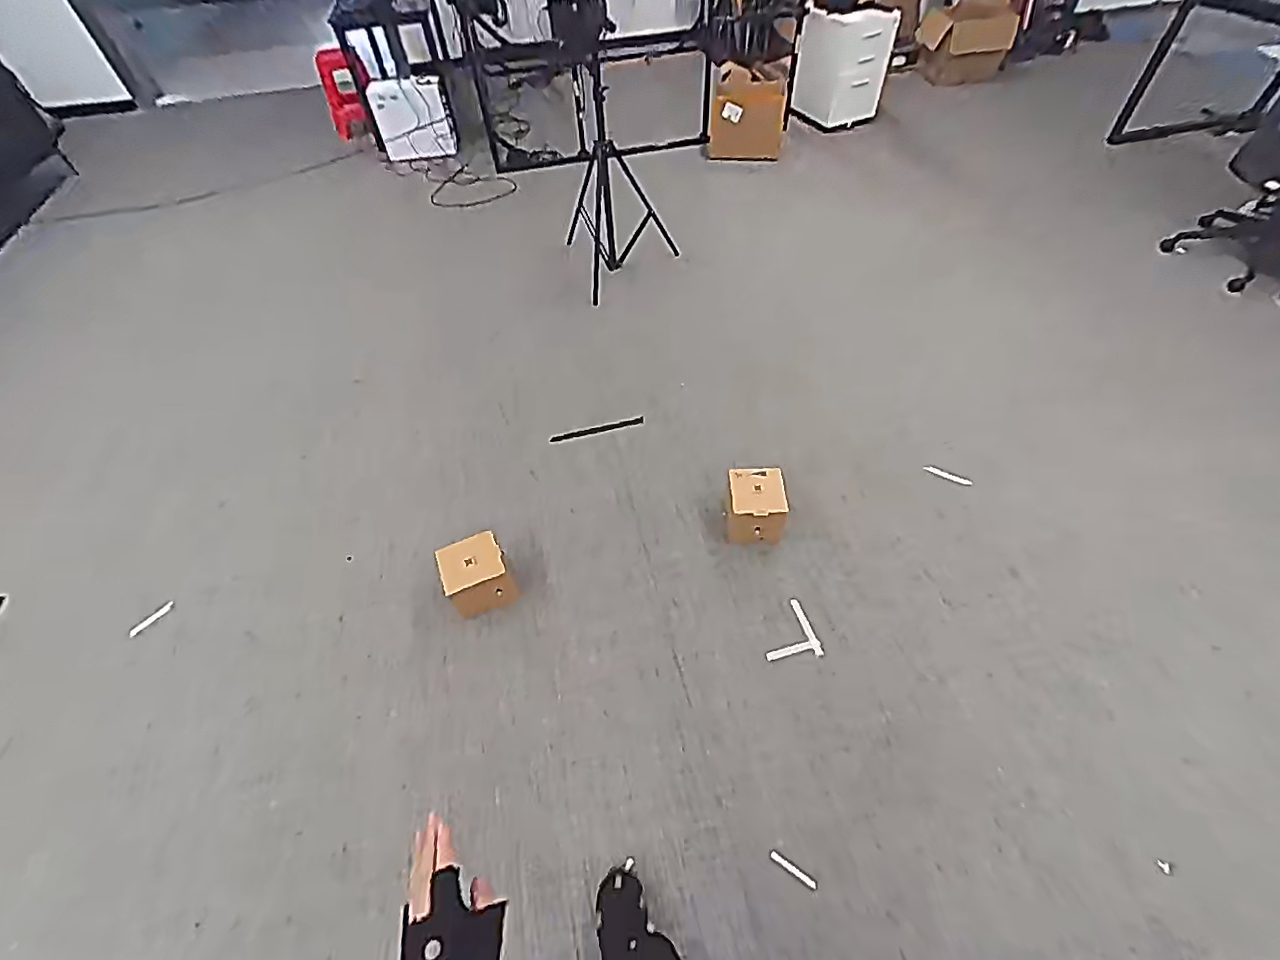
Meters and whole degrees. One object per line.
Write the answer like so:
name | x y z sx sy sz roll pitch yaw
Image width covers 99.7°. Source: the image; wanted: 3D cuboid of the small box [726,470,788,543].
small box | 0.367 0.088 1.720 0.168 0.176 0.179 -1 52 2

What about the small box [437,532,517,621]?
small box | -0.478 0.290 1.612 0.179 0.176 0.168 -22 52 -12
